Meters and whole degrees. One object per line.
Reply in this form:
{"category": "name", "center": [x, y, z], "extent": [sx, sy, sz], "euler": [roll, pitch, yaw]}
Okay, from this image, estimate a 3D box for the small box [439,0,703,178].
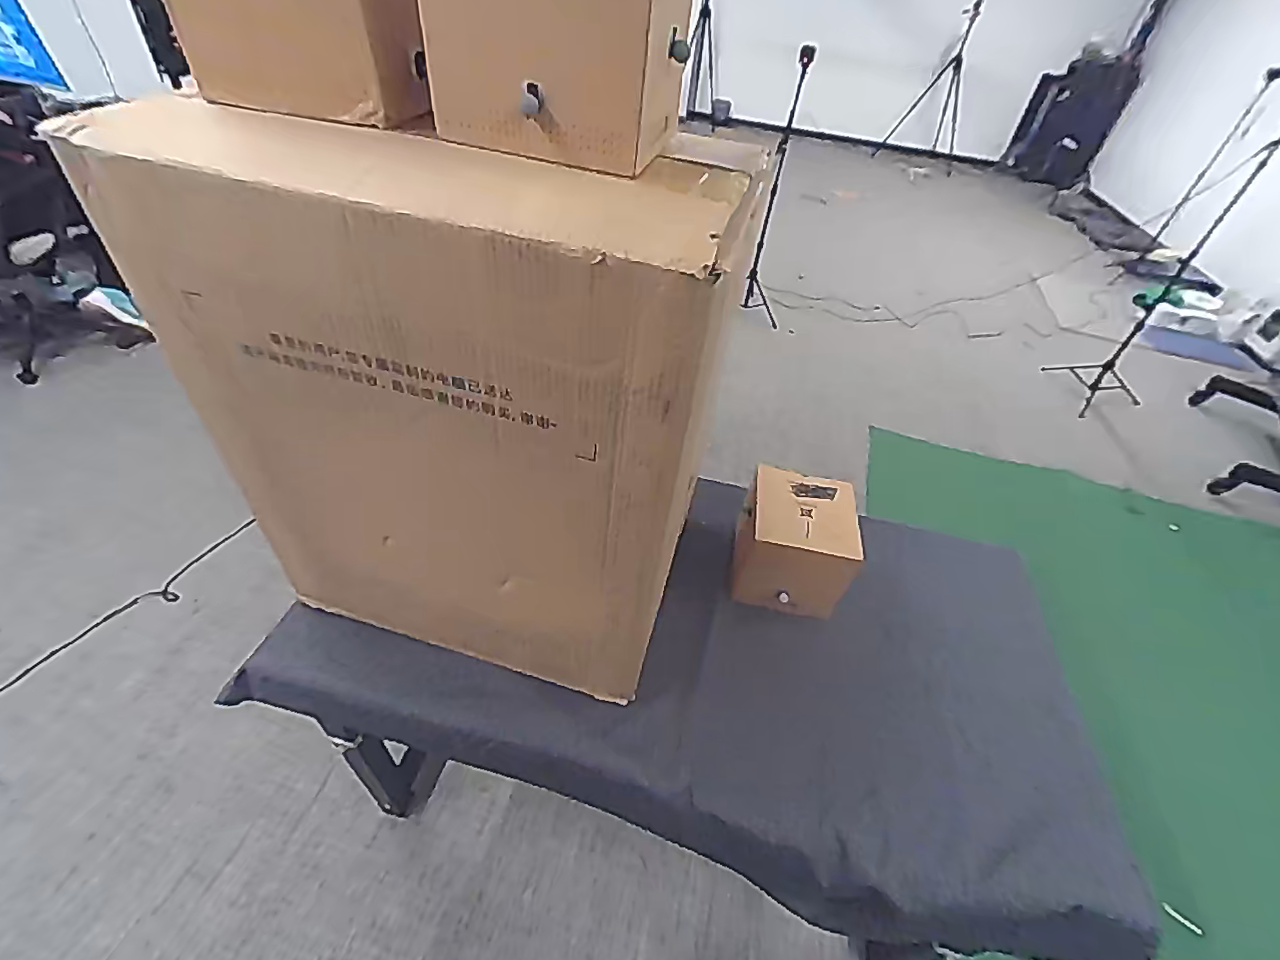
{"category": "small box", "center": [-0.047, -0.371, 0.451], "extent": [0.179, 0.176, 0.168], "euler": [15, 44, 6]}
